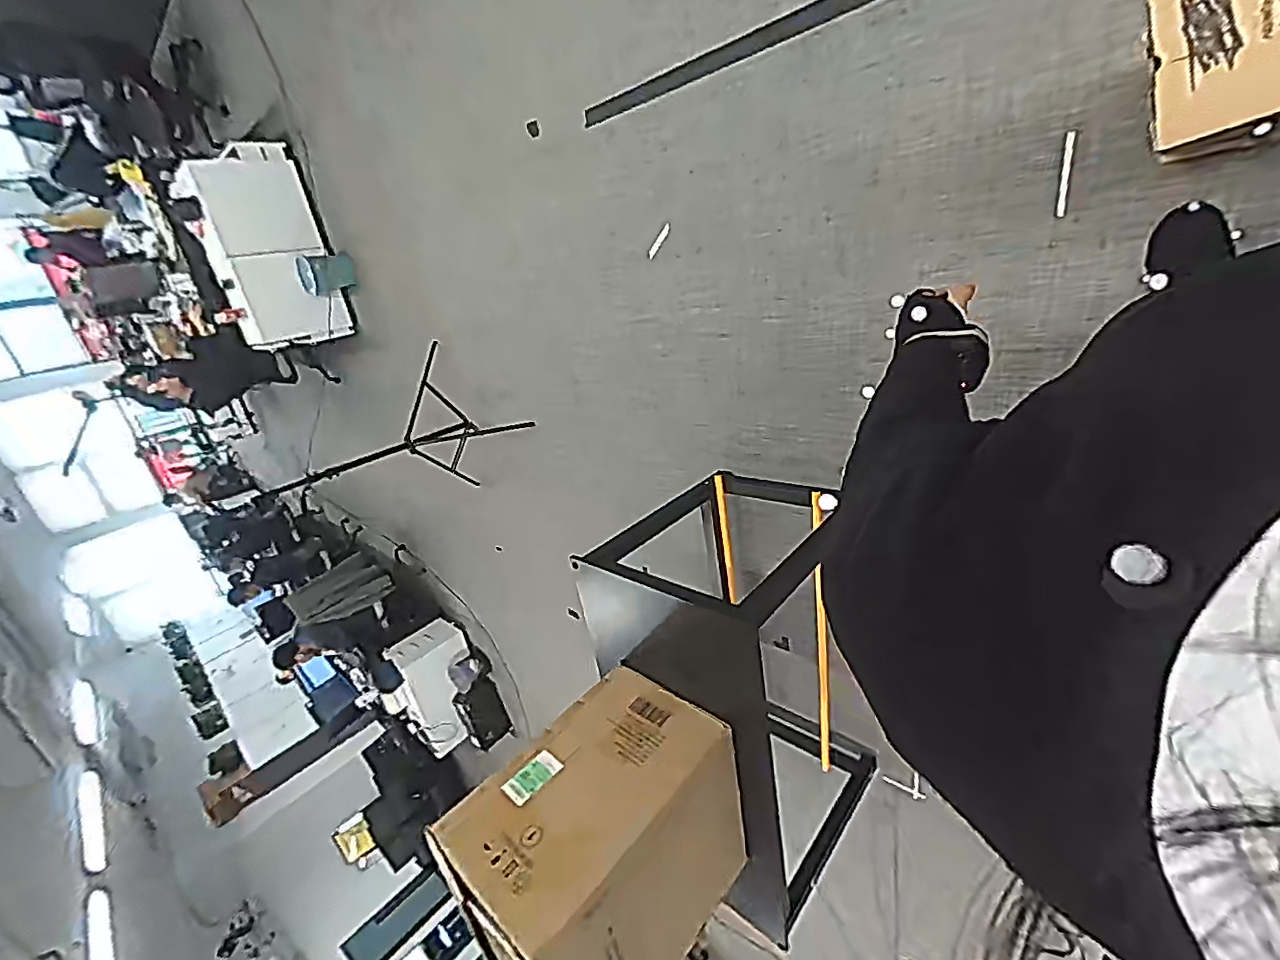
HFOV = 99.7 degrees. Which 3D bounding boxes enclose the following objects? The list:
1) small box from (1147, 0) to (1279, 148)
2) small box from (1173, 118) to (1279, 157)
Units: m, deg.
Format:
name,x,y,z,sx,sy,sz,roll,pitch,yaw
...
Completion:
name,x,y,z,sx,sy,sz,roll,pitch,yaw
small box,0.622,-0.443,0.522,0.179,0.176,0.168,-1,111,48
small box,0.738,-0.502,0.624,0.168,0.176,0.179,0,112,48
